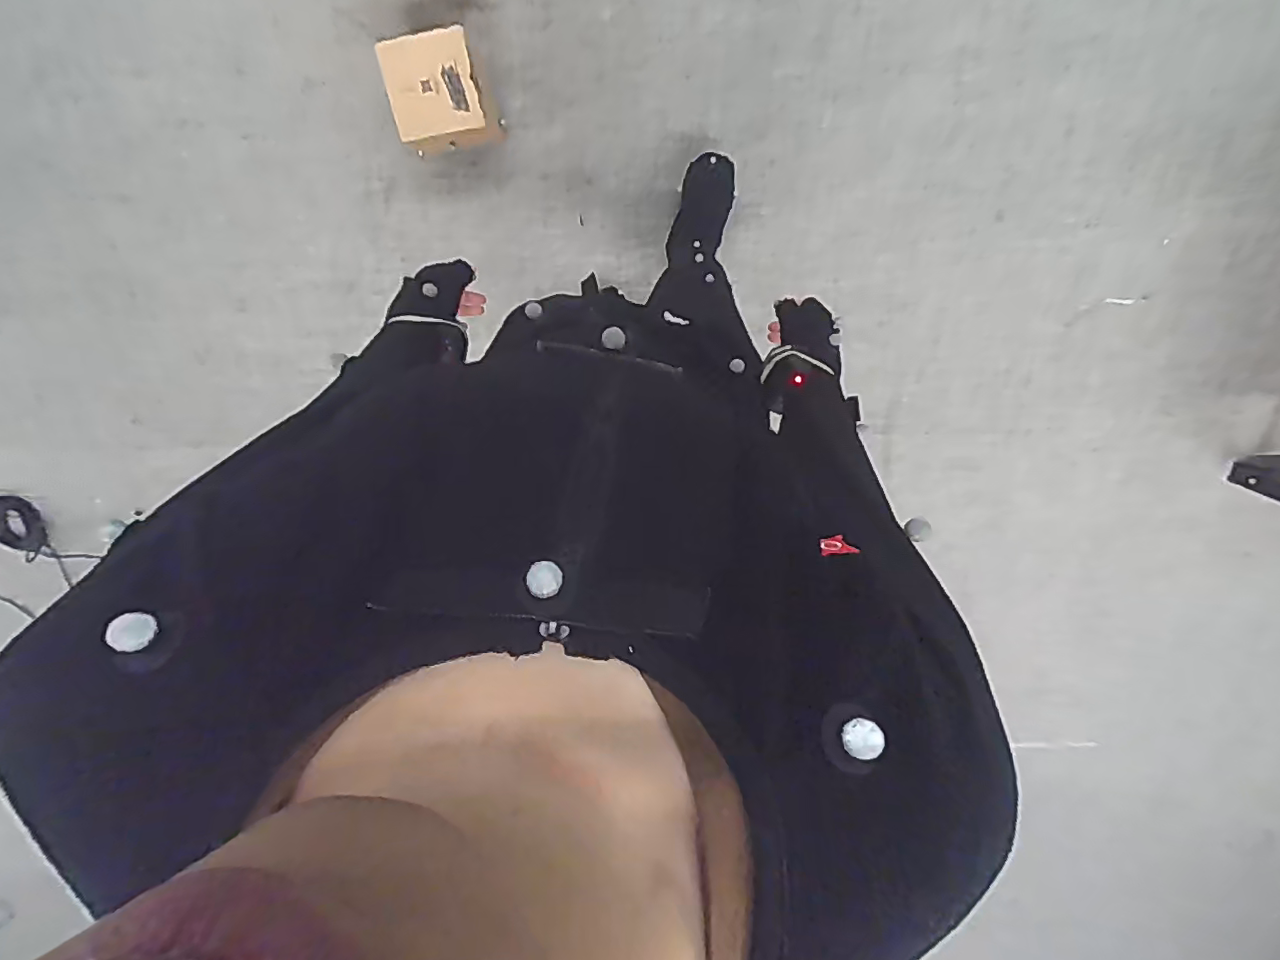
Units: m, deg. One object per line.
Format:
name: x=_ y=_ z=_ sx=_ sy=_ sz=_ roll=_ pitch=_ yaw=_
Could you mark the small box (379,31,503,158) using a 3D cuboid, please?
small box: x=-0.393 y=-0.782 z=1.114 sx=0.179 sy=0.176 sz=0.168 roll=-8 pitch=112 yaw=5
